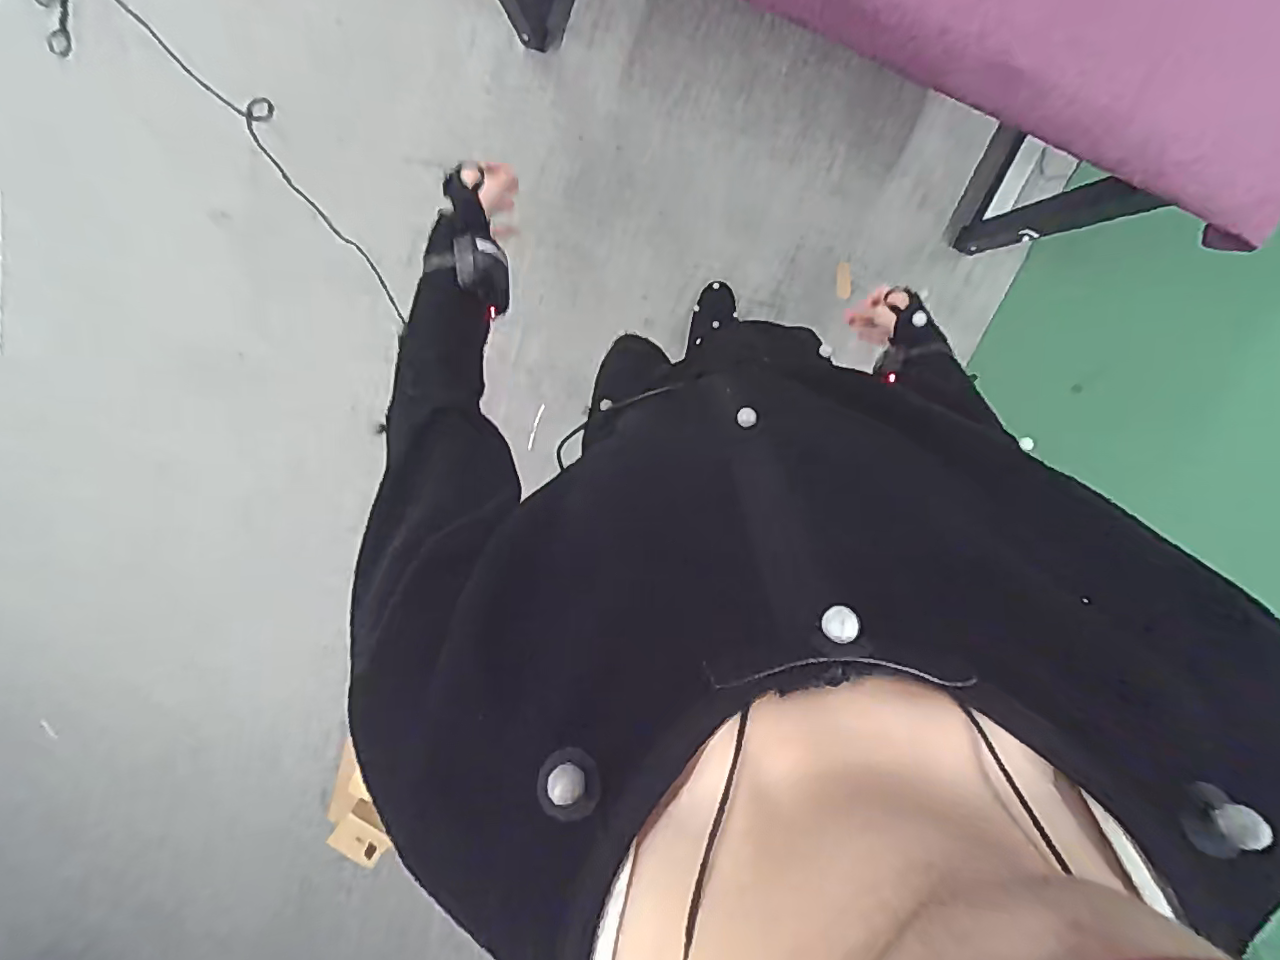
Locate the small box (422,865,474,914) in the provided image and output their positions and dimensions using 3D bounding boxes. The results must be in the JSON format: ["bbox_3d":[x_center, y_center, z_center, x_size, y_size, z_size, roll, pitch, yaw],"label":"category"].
[{"bbox_3d":[-0.593,1.296,1.822,0.179,0.176,0.168,28,105,-5],"label":"small box"}]

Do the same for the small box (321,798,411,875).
[{"bbox_3d":[-0.901,1.148,1.796,0.179,0.176,0.168,37,105,-5],"label":"small box"}]
